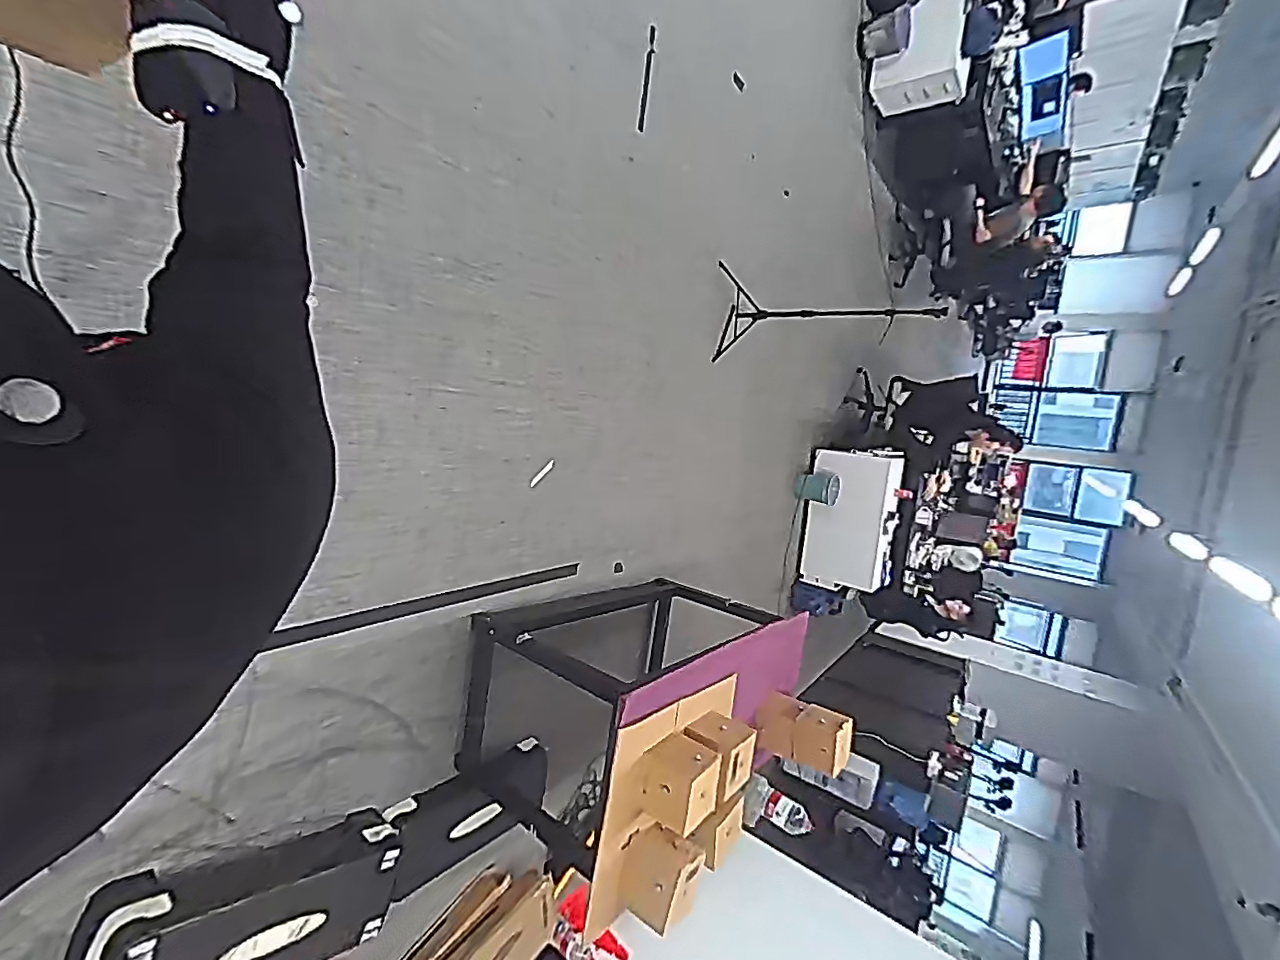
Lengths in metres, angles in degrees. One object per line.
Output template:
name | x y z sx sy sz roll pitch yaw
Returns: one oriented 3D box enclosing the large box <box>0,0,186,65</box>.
large box | -0.530 -0.501 0.272 0.408 0.320 0.320 -6 113 -55
